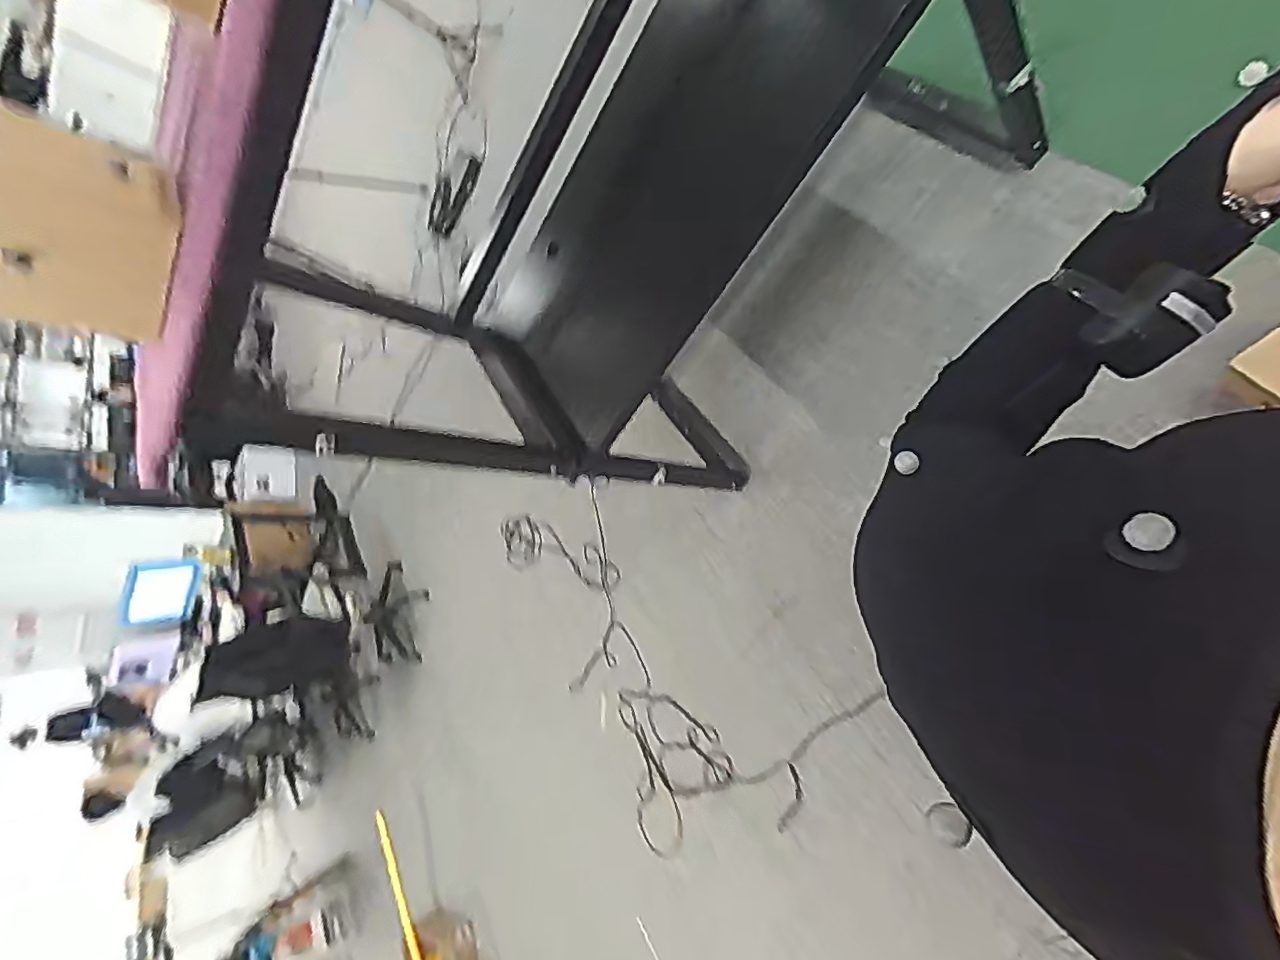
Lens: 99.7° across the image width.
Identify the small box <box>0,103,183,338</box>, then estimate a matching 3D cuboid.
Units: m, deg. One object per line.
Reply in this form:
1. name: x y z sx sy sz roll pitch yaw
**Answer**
1. small box: -0.667 -0.296 0.646 0.179 0.176 0.168 -53 56 25
